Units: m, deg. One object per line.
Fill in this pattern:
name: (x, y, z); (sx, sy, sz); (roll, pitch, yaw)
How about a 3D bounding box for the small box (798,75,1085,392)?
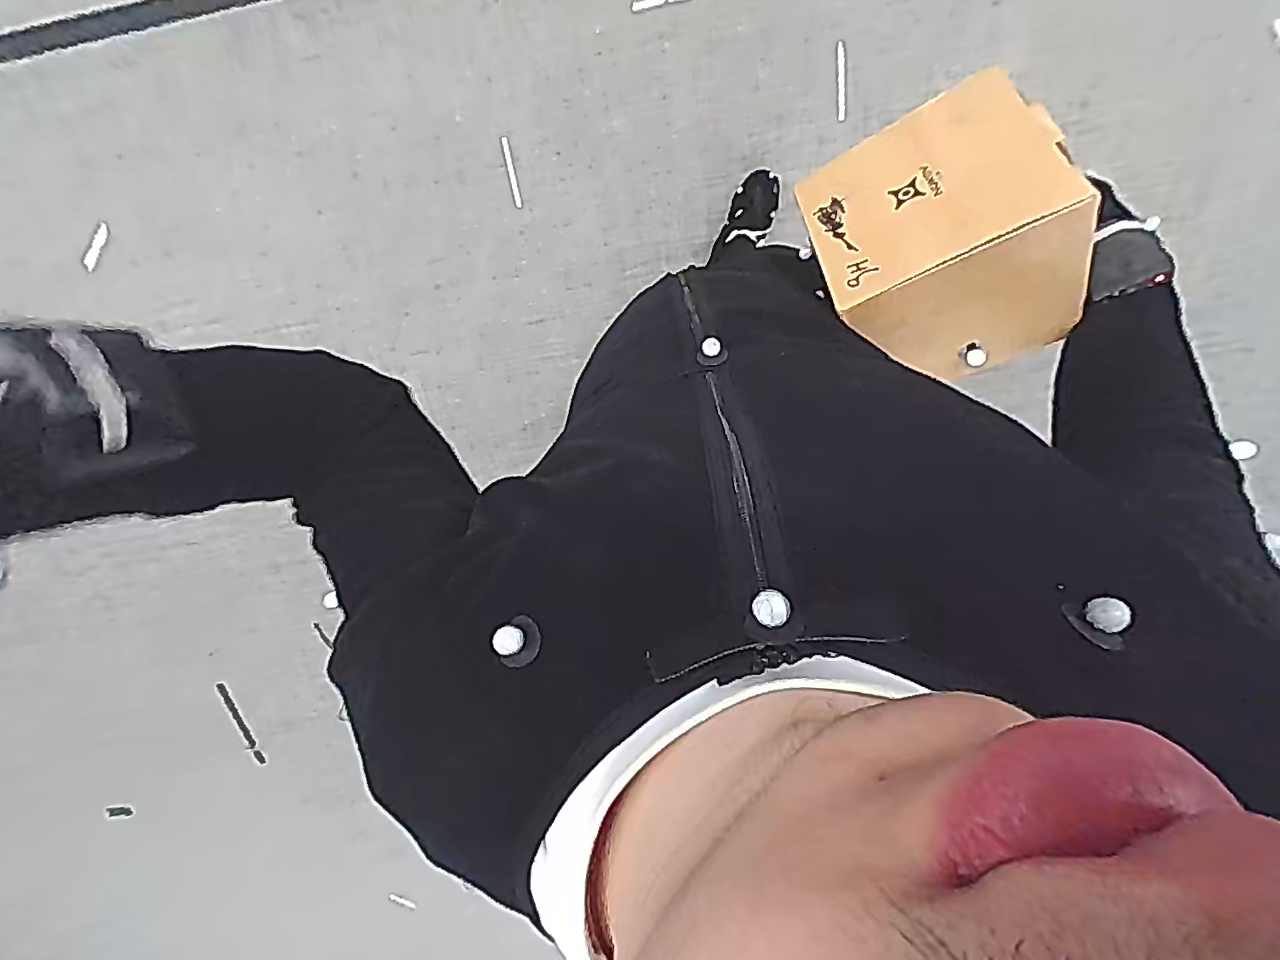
small box: (0.274, -0.213, 0.513); (0.179, 0.168, 0.176); (-21, 148, 26)
